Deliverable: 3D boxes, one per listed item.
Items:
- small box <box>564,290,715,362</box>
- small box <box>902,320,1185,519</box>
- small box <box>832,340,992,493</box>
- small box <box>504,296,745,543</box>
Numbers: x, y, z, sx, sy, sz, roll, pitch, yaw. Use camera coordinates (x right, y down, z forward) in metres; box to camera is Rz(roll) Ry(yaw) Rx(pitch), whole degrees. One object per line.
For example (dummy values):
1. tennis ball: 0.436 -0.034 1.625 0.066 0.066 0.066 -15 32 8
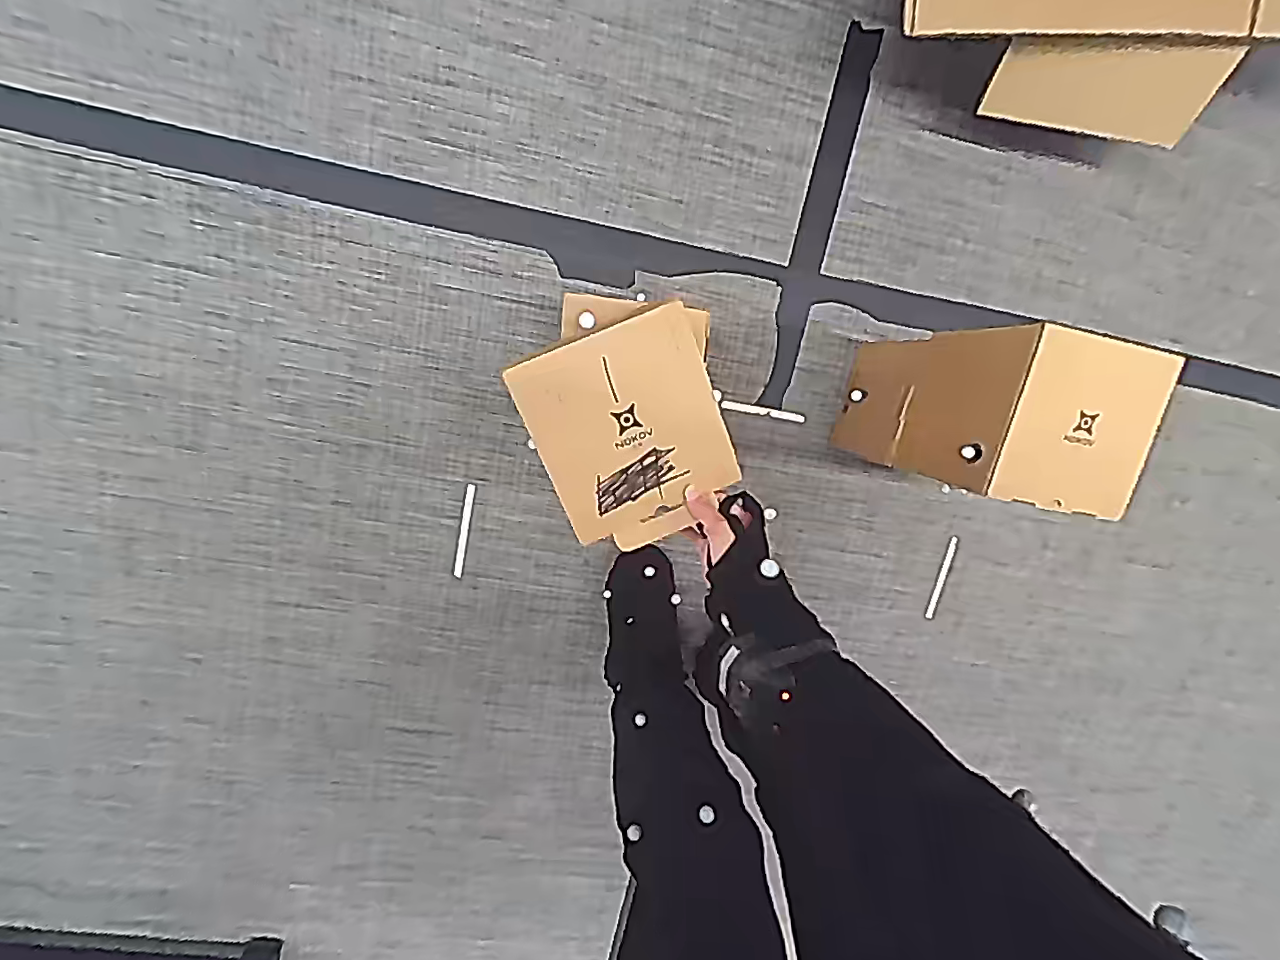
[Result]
1. small box: -0.014 -0.146 0.714 0.179 0.176 0.168 5 101 -6
2. small box: 0.433 -0.073 0.614 0.168 0.176 0.179 10 102 -10
3. small box: 0.412 -0.097 0.774 0.179 0.176 0.168 14 101 -10
4. small box: -0.018 -0.070 0.544 0.168 0.176 0.179 -24 108 -2
